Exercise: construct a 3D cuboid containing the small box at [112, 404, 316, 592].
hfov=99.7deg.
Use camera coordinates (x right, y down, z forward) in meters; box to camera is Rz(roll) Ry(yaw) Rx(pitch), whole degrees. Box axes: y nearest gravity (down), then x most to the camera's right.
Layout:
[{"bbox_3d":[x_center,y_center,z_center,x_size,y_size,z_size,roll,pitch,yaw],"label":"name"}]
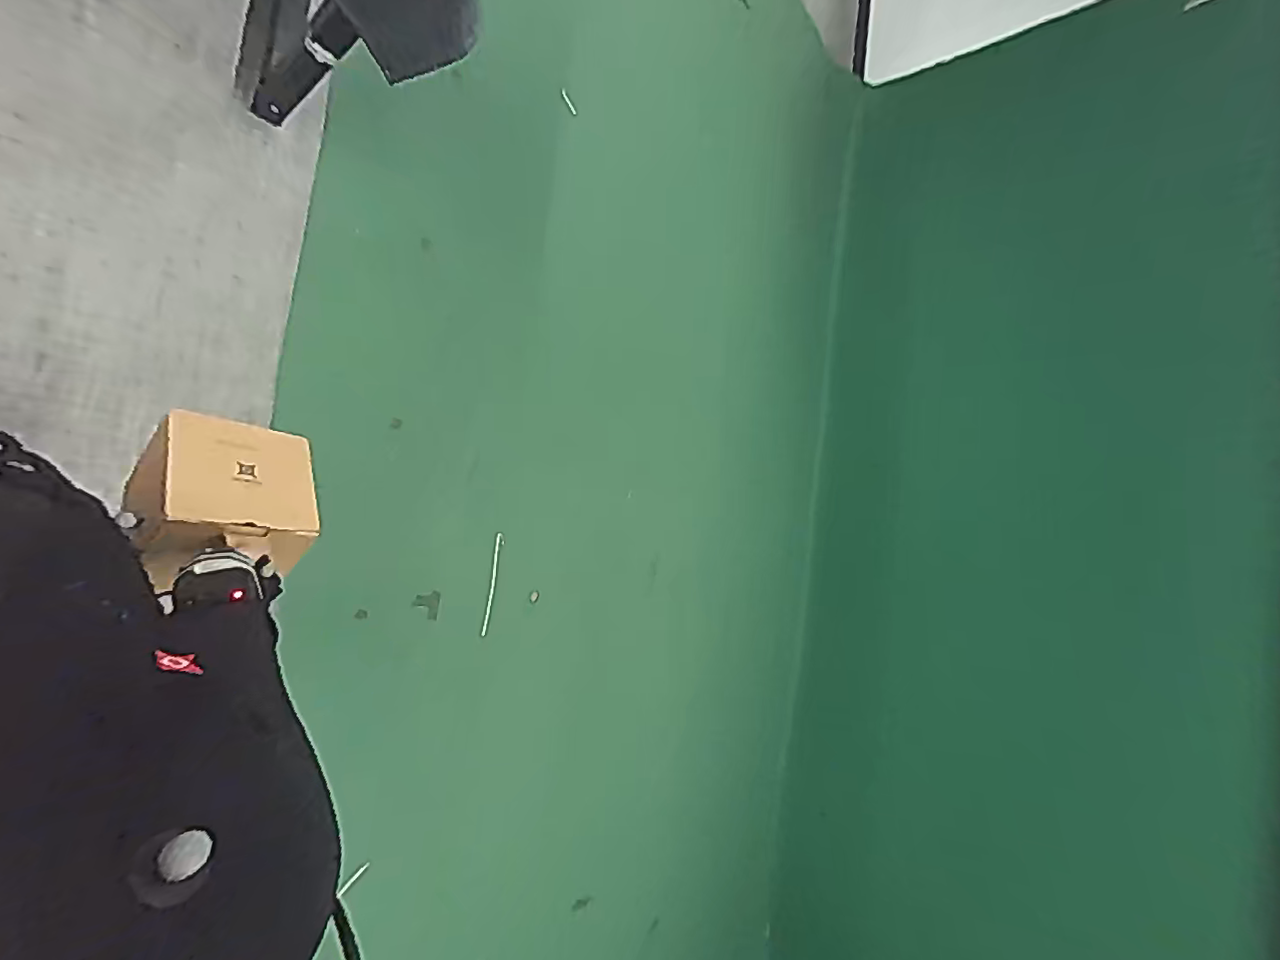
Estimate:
[{"bbox_3d":[-0.567,0.035,0.723,0.168,0.176,0.179,19,36,-53],"label":"small box"}]
